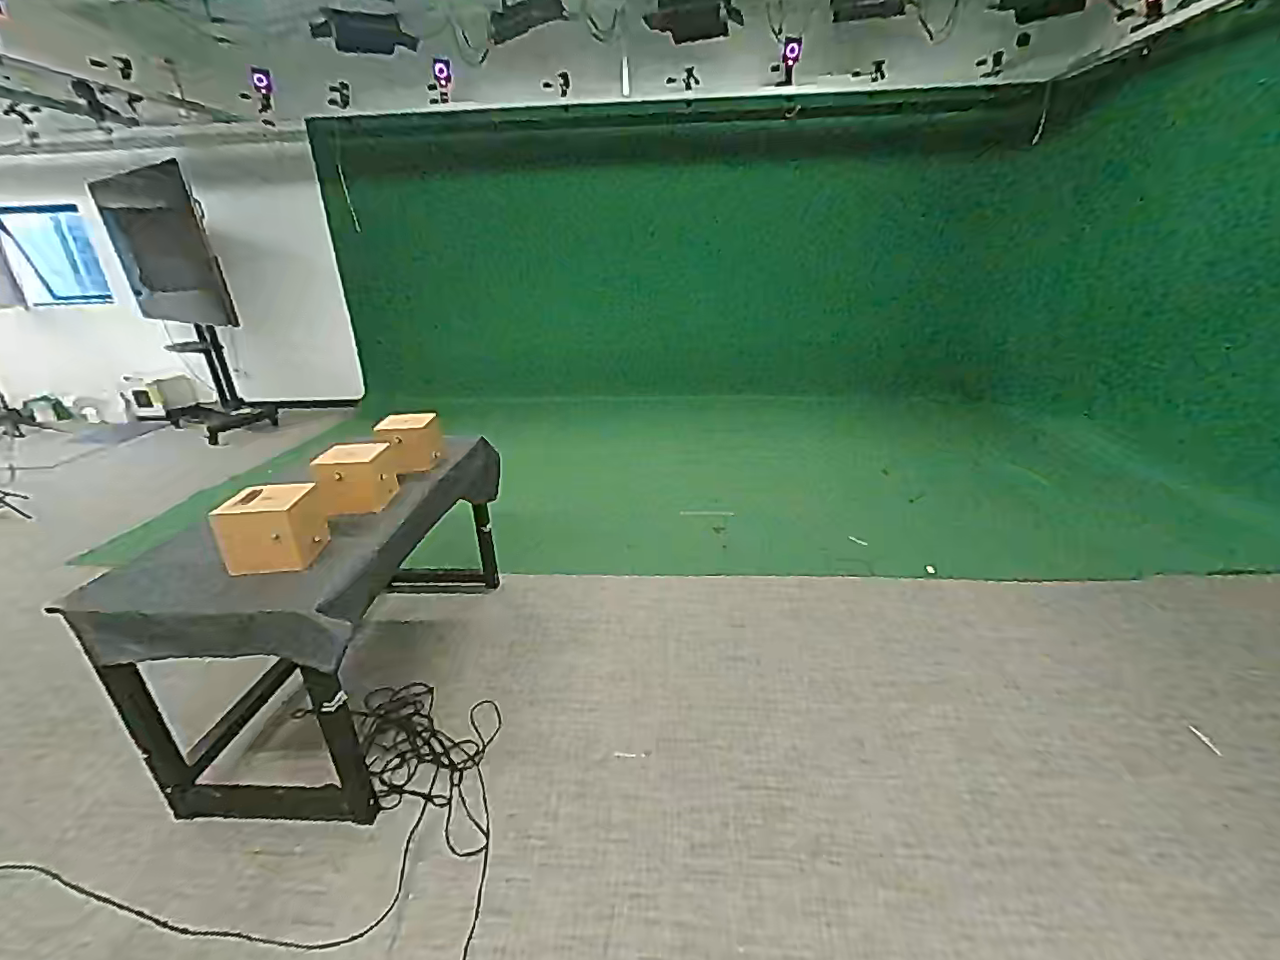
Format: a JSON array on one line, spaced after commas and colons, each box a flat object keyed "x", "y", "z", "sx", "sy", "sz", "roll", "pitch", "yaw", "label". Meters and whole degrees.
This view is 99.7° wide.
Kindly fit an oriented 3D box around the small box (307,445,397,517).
[{"x": -0.871, "y": 0.002, "z": 1.656, "sx": 0.179, "sy": 0.176, "sz": 0.168, "roll": -3, "pitch": 23, "yaw": -1, "label": "small box"}]

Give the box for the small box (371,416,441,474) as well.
[{"x": -0.838, "y": -0.125, "z": 1.954, "sx": 0.179, "sy": 0.176, "sz": 0.168, "roll": -3, "pitch": 24, "yaw": -3, "label": "small box"}]
